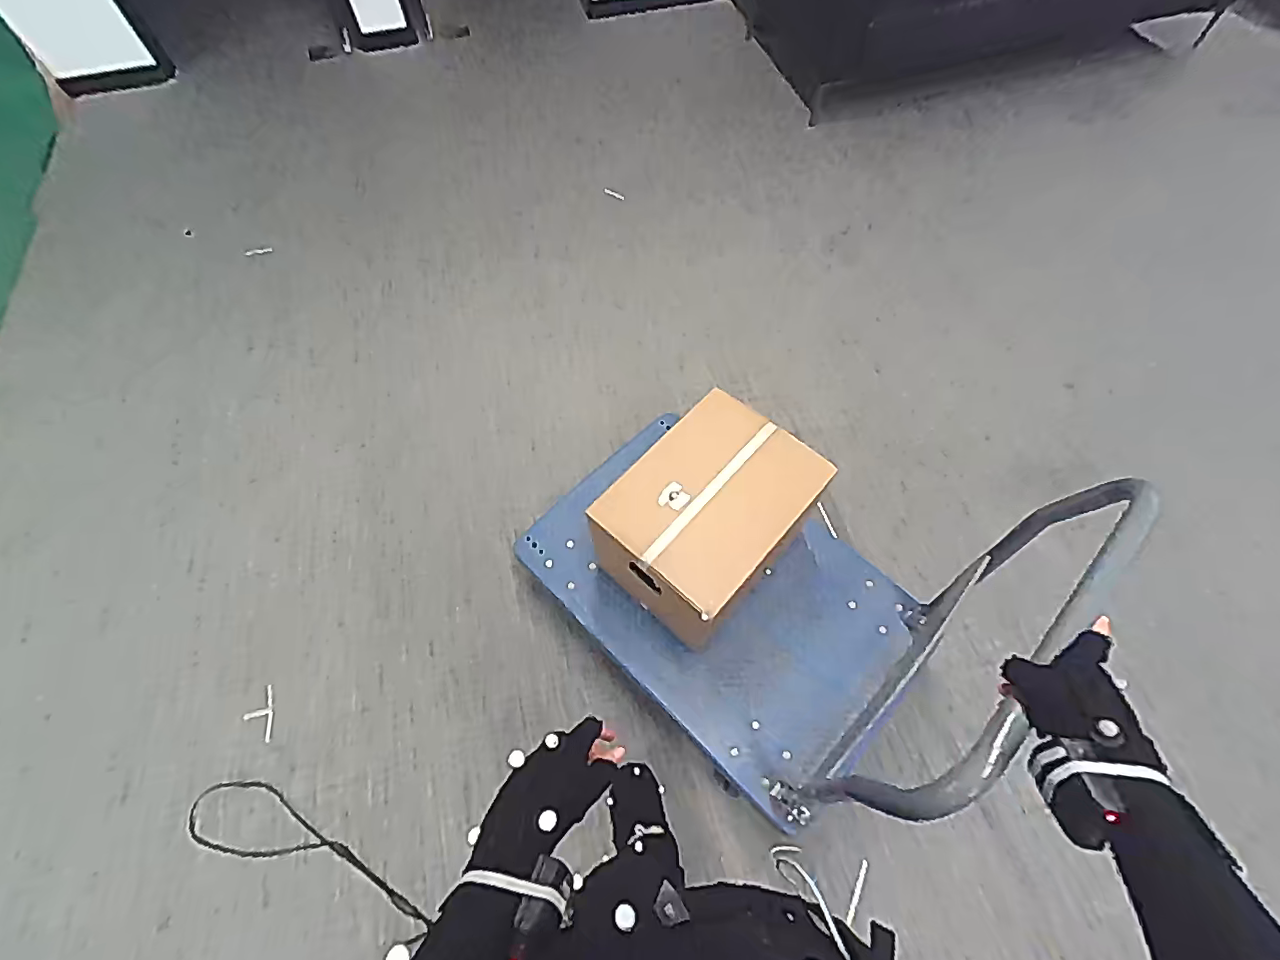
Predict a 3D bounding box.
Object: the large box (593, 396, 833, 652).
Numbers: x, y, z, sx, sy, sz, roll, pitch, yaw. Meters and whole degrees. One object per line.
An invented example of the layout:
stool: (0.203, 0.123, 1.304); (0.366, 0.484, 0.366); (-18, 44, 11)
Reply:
large box: (0.152, 0.102, 1.191); (0.320, 0.320, 0.408); (37, 69, 20)
